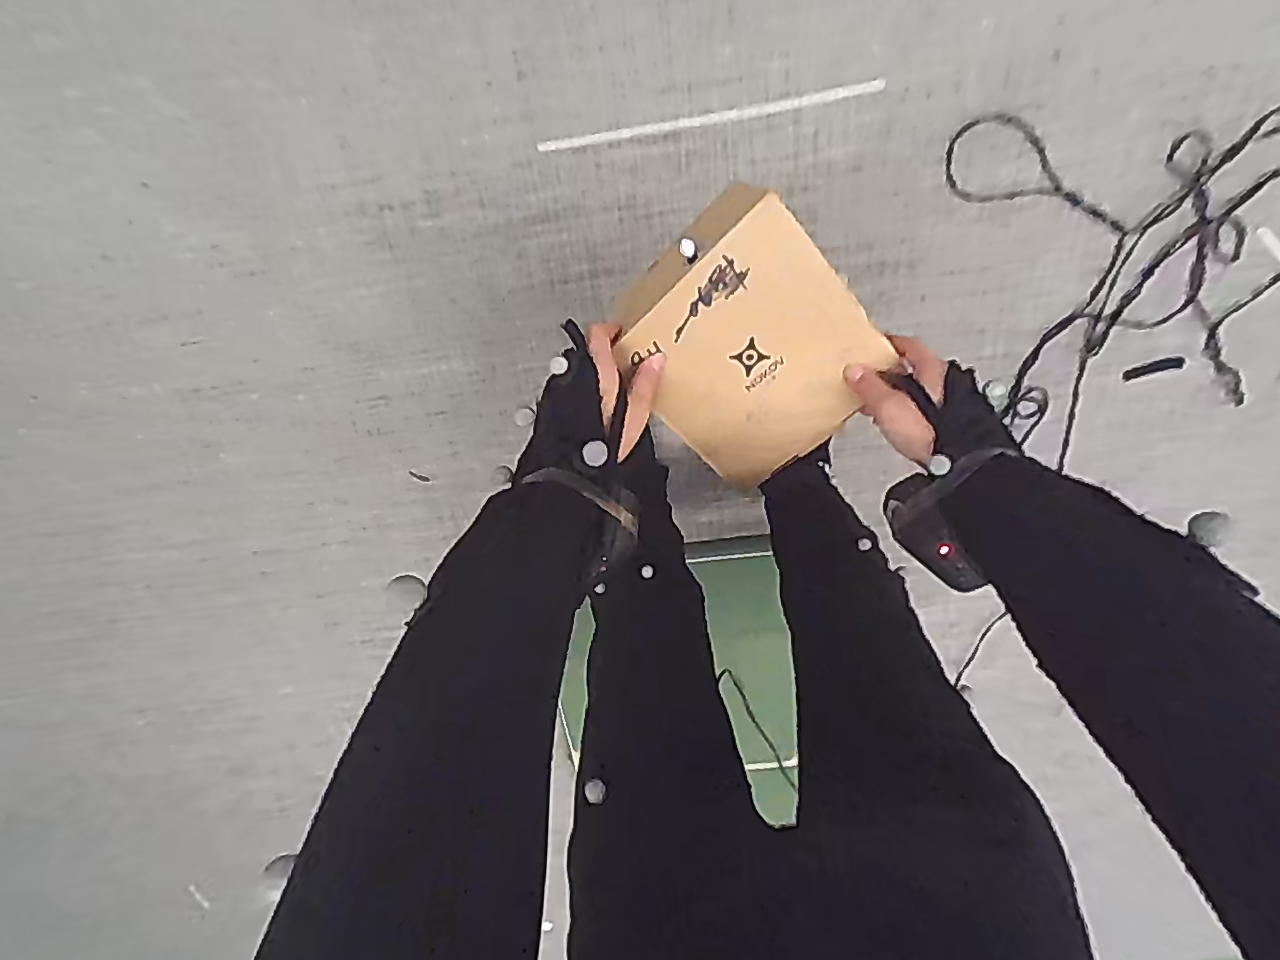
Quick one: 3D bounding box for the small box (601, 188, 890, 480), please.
[{"bbox_3d":[0.086,-0.140,0.496,0.168,0.176,0.179,-40,114,21],"label":"small box"}]
